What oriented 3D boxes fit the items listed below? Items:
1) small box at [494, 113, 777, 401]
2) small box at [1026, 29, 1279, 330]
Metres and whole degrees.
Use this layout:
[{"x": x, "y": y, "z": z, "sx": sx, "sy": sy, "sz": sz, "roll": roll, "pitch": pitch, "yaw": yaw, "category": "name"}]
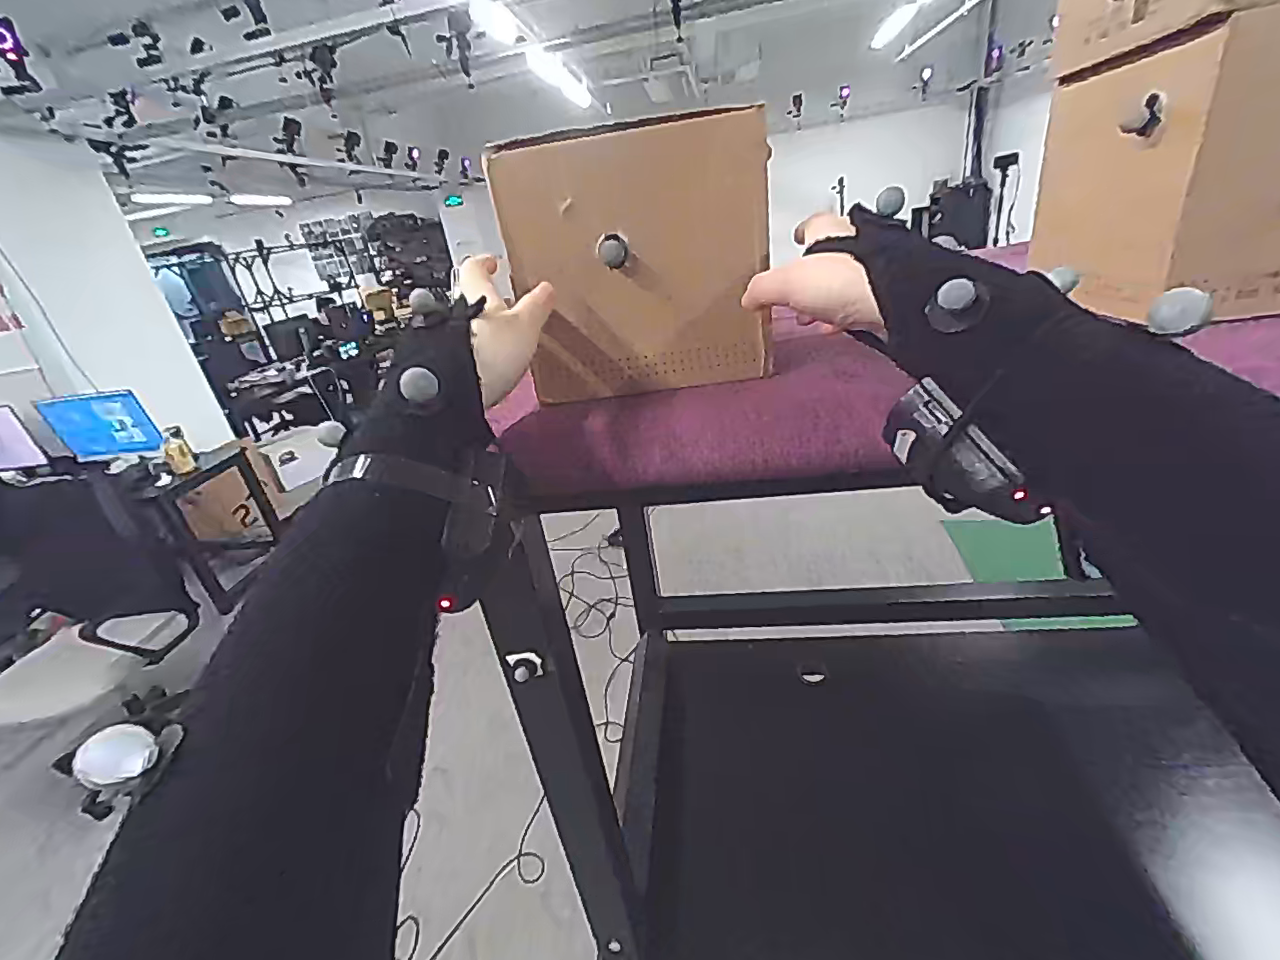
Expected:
[{"x": 0.007, "y": -0.170, "z": 0.437, "sx": 0.179, "sy": 0.176, "sz": 0.168, "roll": -7, "pitch": 27, "yaw": 5, "category": "small box"}, {"x": 0.419, "y": -0.209, "z": 0.389, "sx": 0.168, "sy": 0.176, "sz": 0.179, "roll": -3, "pitch": 25, "yaw": 10, "category": "small box"}]
